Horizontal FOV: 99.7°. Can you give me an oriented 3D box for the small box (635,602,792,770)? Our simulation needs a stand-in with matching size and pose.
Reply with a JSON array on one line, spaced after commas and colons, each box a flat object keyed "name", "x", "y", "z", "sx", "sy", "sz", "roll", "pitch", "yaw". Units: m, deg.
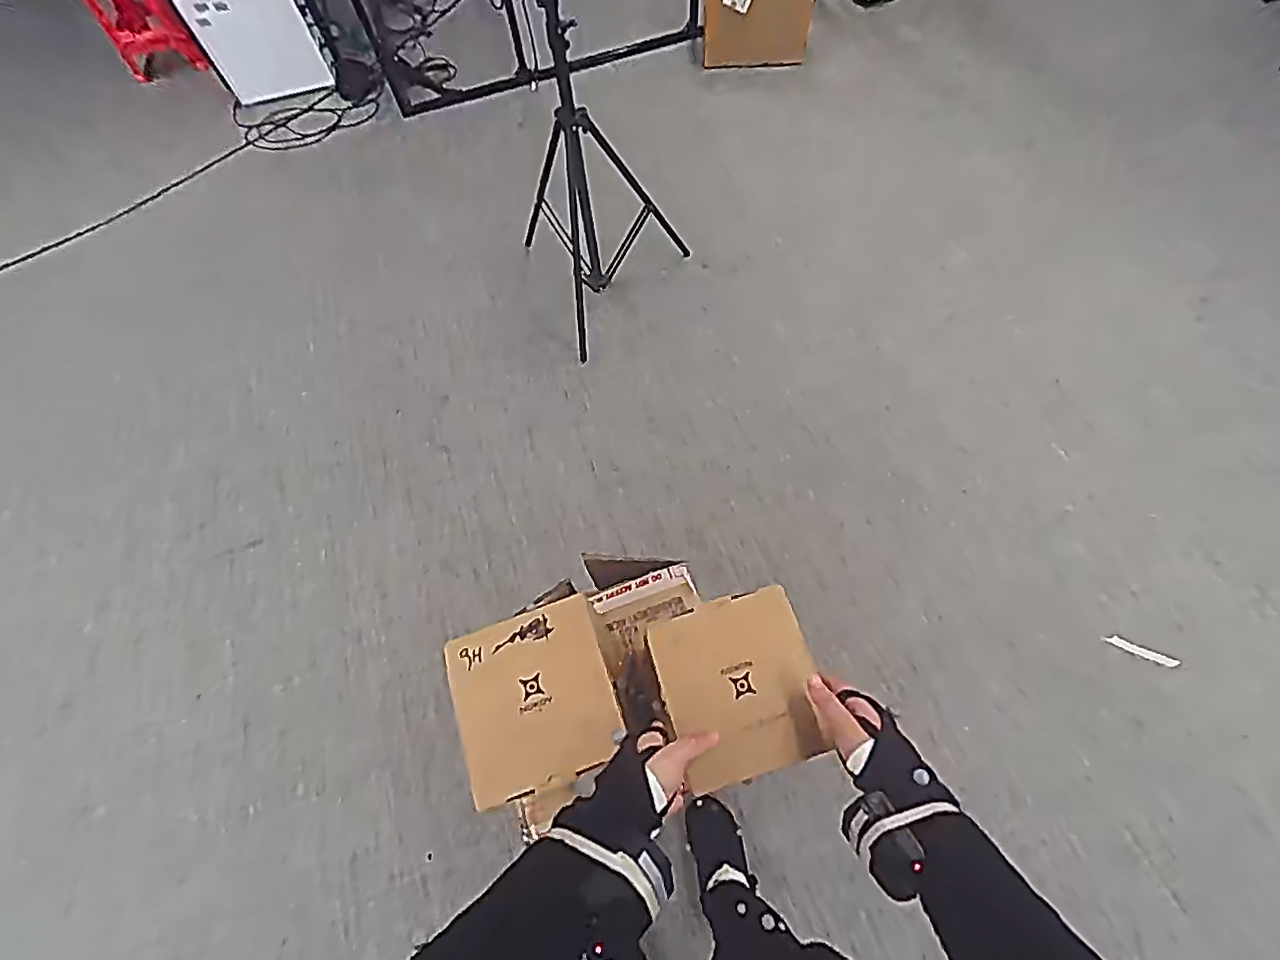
[{"name": "small box", "x": 0.096, "y": 0.305, "z": 0.798, "sx": 0.168, "sy": 0.176, "sz": 0.179, "roll": -19, "pitch": 66, "yaw": -6}]

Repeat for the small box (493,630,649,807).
[{"name": "small box", "x": -0.093, "y": 0.343, "z": 0.791, "sx": 0.168, "sy": 0.176, "sz": 0.179, "roll": -22, "pitch": 68, "yaw": -5}]
